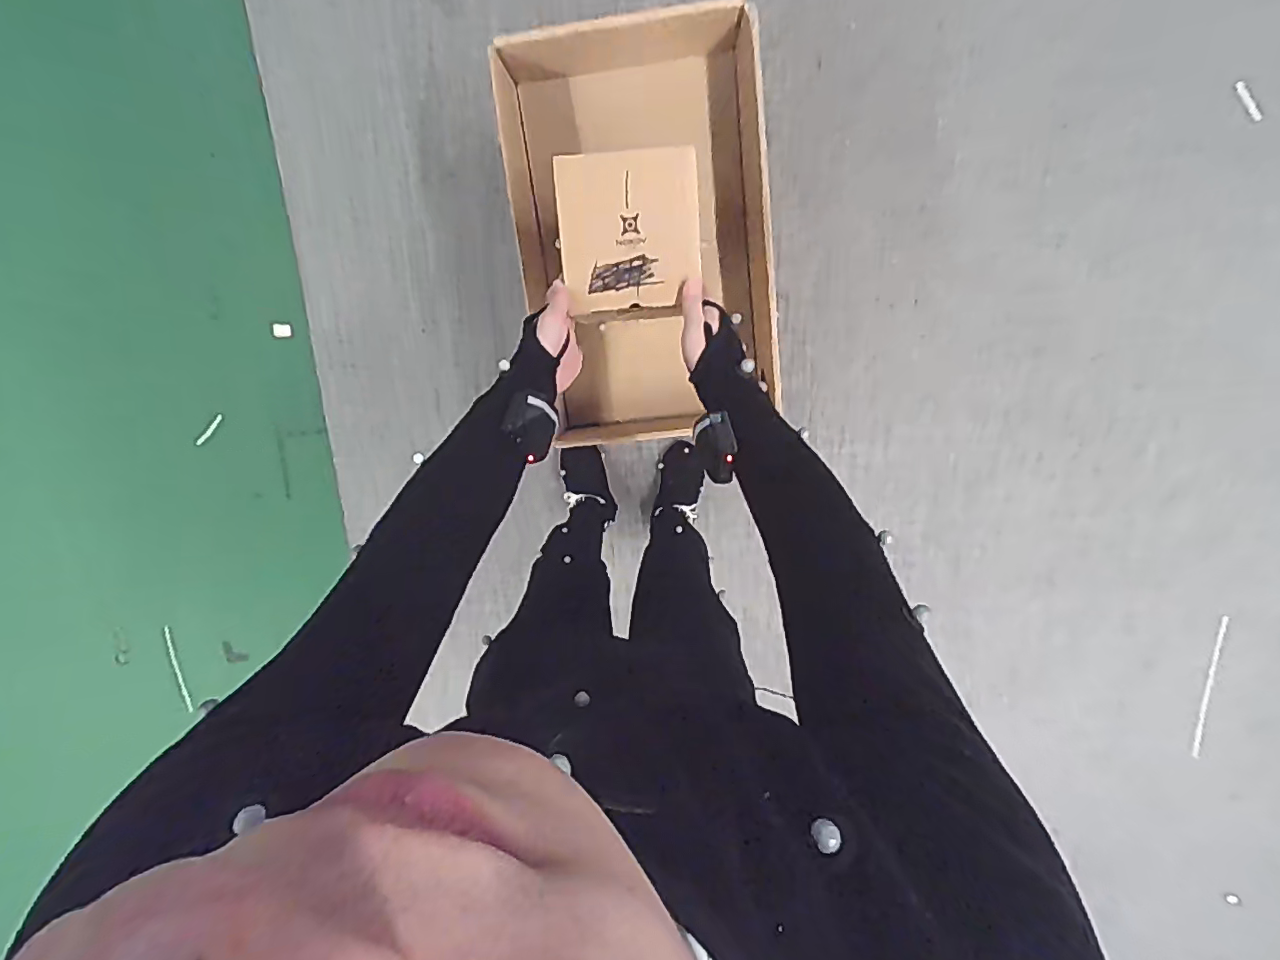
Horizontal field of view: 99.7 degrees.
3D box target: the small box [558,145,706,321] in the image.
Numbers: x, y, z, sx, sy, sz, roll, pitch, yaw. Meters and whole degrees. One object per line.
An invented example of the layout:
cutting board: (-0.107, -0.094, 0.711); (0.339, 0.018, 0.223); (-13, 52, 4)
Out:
small box: (-0.006, -0.302, 0.698); (0.168, 0.176, 0.179); (-4, 102, 1)
